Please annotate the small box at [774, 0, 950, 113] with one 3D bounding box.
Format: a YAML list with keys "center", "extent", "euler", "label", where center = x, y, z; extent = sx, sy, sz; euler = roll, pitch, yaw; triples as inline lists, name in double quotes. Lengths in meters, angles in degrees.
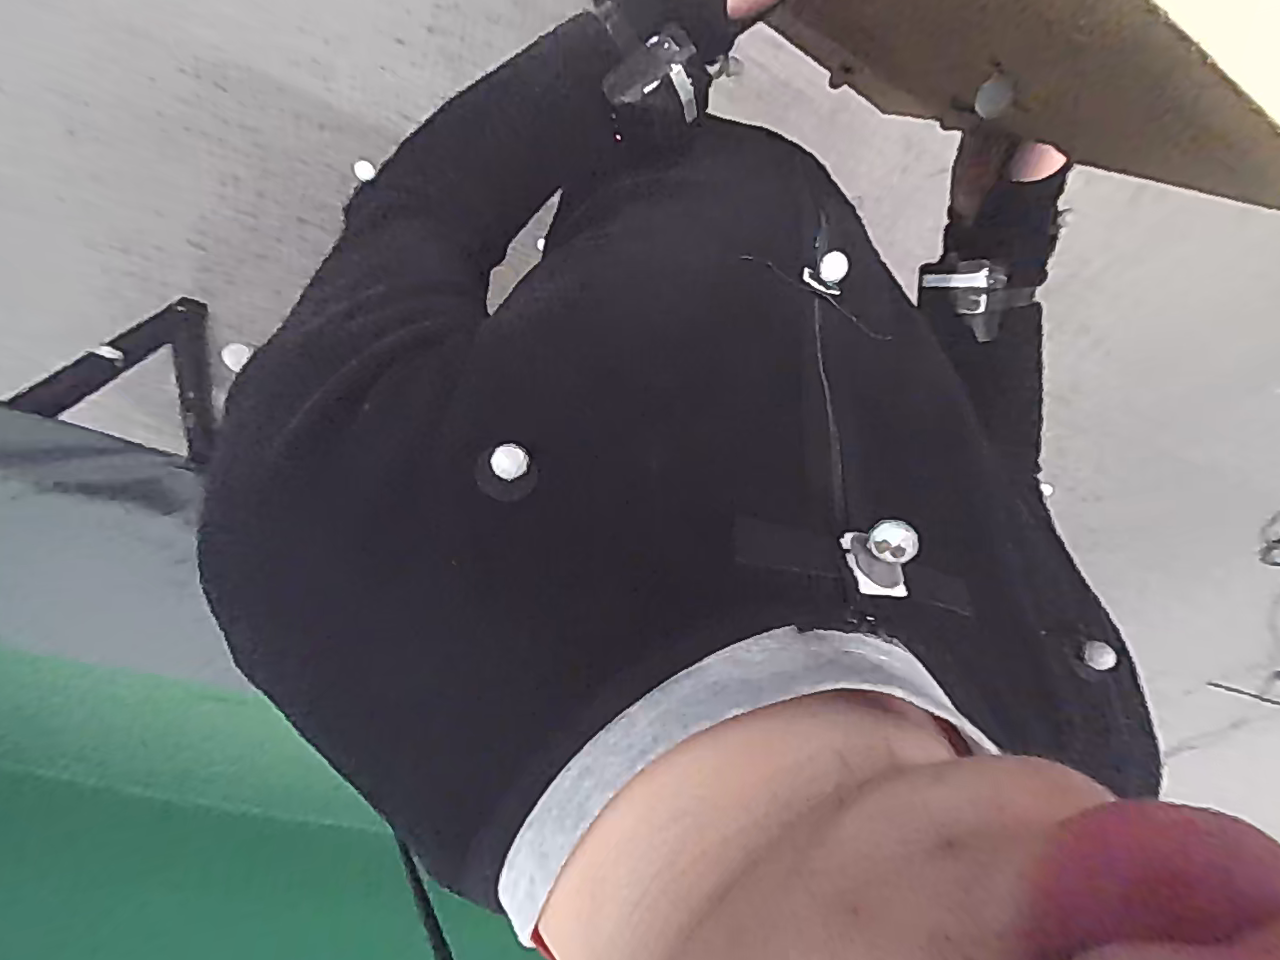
- center: [0.217, -0.426, 0.417]
  extent: [0.168, 0.176, 0.179]
  euler: [24, 125, -15]
  label: "small box"

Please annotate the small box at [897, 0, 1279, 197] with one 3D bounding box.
- center: [0.206, -0.220, 0.162]
  extent: [0.168, 0.176, 0.179]
  euler: [24, 125, -16]
  label: "small box"
